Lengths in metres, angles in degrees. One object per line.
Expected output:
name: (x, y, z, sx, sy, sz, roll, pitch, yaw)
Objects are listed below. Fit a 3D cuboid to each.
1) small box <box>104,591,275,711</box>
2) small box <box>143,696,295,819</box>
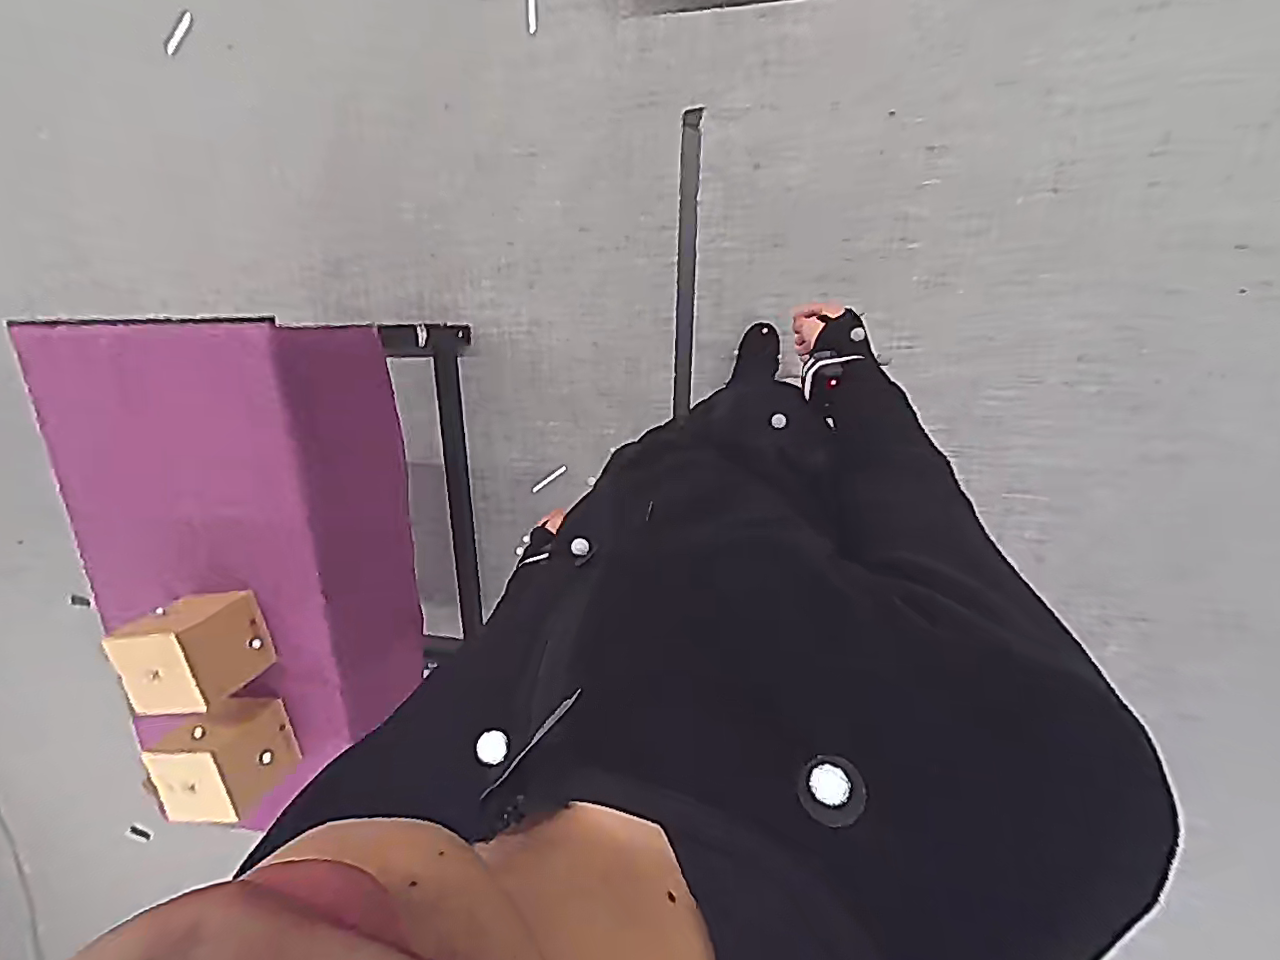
small box: (-0.881, 0.334, 1.074, 0.179, 0.176, 0.168, -7, 105, 13)
small box: (-0.870, 0.577, 1.141, 0.179, 0.176, 0.168, -6, 104, 13)
